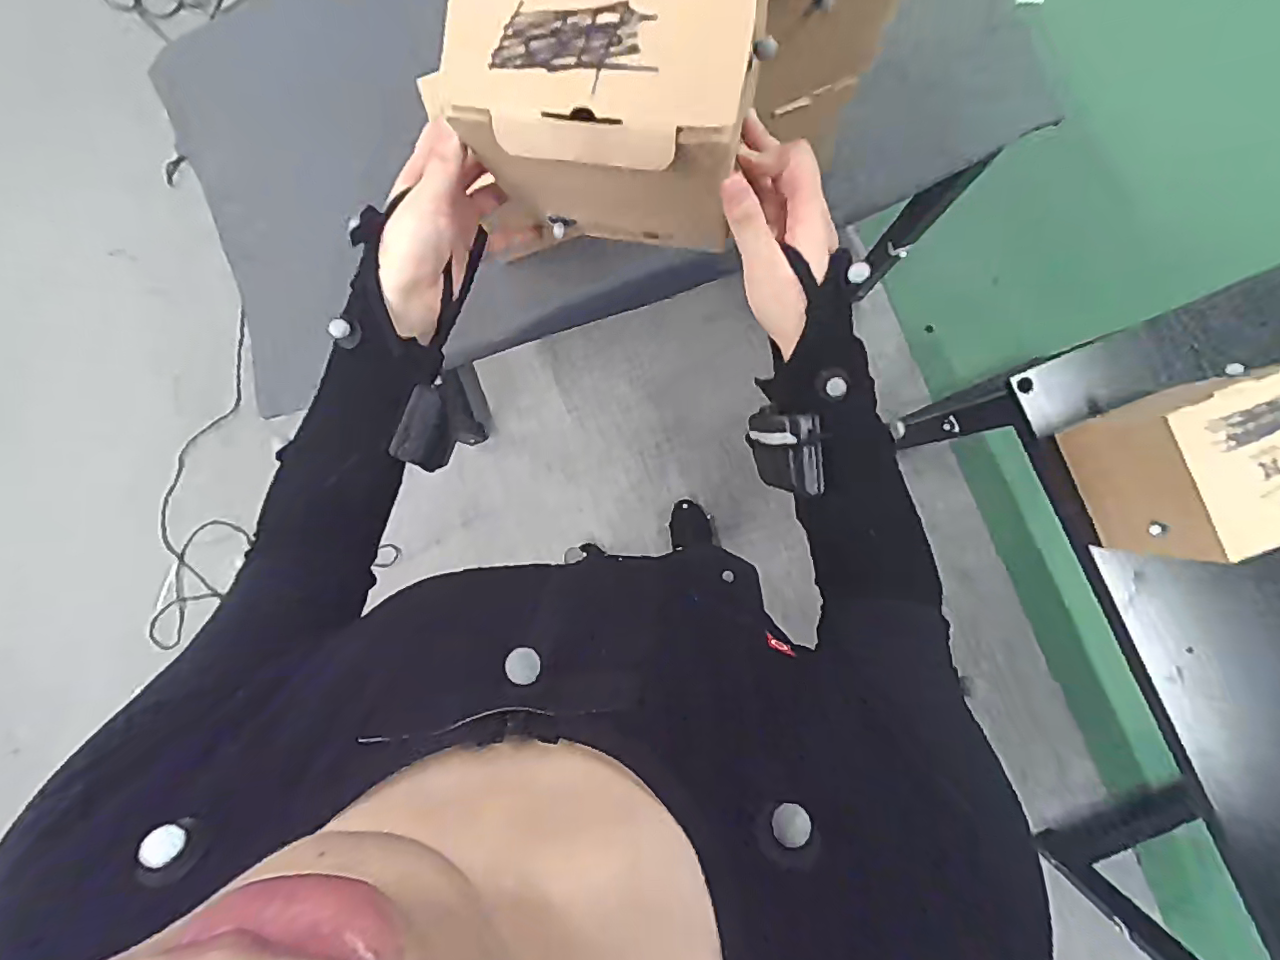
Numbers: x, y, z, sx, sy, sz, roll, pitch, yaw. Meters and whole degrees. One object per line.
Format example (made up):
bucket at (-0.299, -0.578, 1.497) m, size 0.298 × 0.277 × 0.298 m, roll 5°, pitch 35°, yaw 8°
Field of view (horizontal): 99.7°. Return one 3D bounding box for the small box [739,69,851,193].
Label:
small box at (0.146, -0.504, 0.704) m, size 0.168 × 0.176 × 0.179 m, roll -19°, pitch 86°, yaw 3°

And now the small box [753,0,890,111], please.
small box at (0.144, -0.517, 0.542) m, size 0.179 × 0.176 × 0.168 m, roll -21°, pitch 85°, yaw 3°

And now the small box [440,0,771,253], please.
small box at (-0.007, -0.270, 0.360) m, size 0.168 × 0.176 × 0.179 m, roll 10°, pitch 95°, yaw 7°

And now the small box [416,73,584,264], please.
small box at (-0.159, -0.423, 0.721) m, size 0.179 × 0.176 × 0.168 m, roll -20°, pitch 85°, yaw 3°
